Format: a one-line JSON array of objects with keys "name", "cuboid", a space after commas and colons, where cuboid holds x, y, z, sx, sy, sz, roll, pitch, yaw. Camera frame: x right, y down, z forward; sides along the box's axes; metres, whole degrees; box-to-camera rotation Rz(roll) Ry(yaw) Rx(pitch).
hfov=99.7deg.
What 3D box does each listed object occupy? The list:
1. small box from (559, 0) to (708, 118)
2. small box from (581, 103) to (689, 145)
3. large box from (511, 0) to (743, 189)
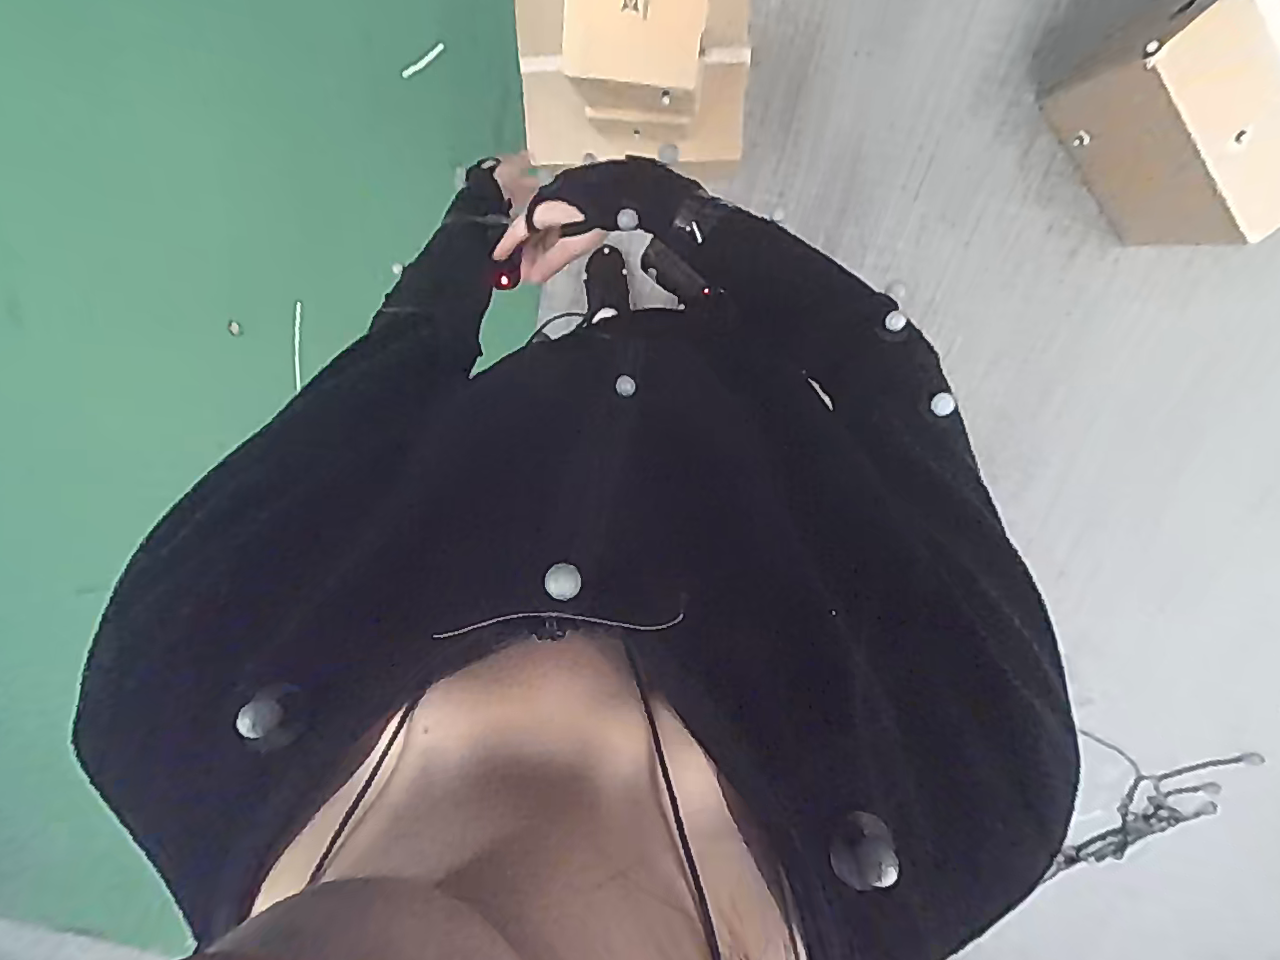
[{"name": "small box", "cuboid": [-0.002, -0.602, 0.721, 0.179, 0.176, 0.168, 6, 113, 0]}, {"name": "small box", "cuboid": [0.003, -0.658, 0.873, 0.168, 0.176, 0.179, 5, 113, 1]}, {"name": "large box", "cuboid": [-0.008, -0.780, 1.090, 0.408, 0.320, 0.320, 1, 111, 5]}]
